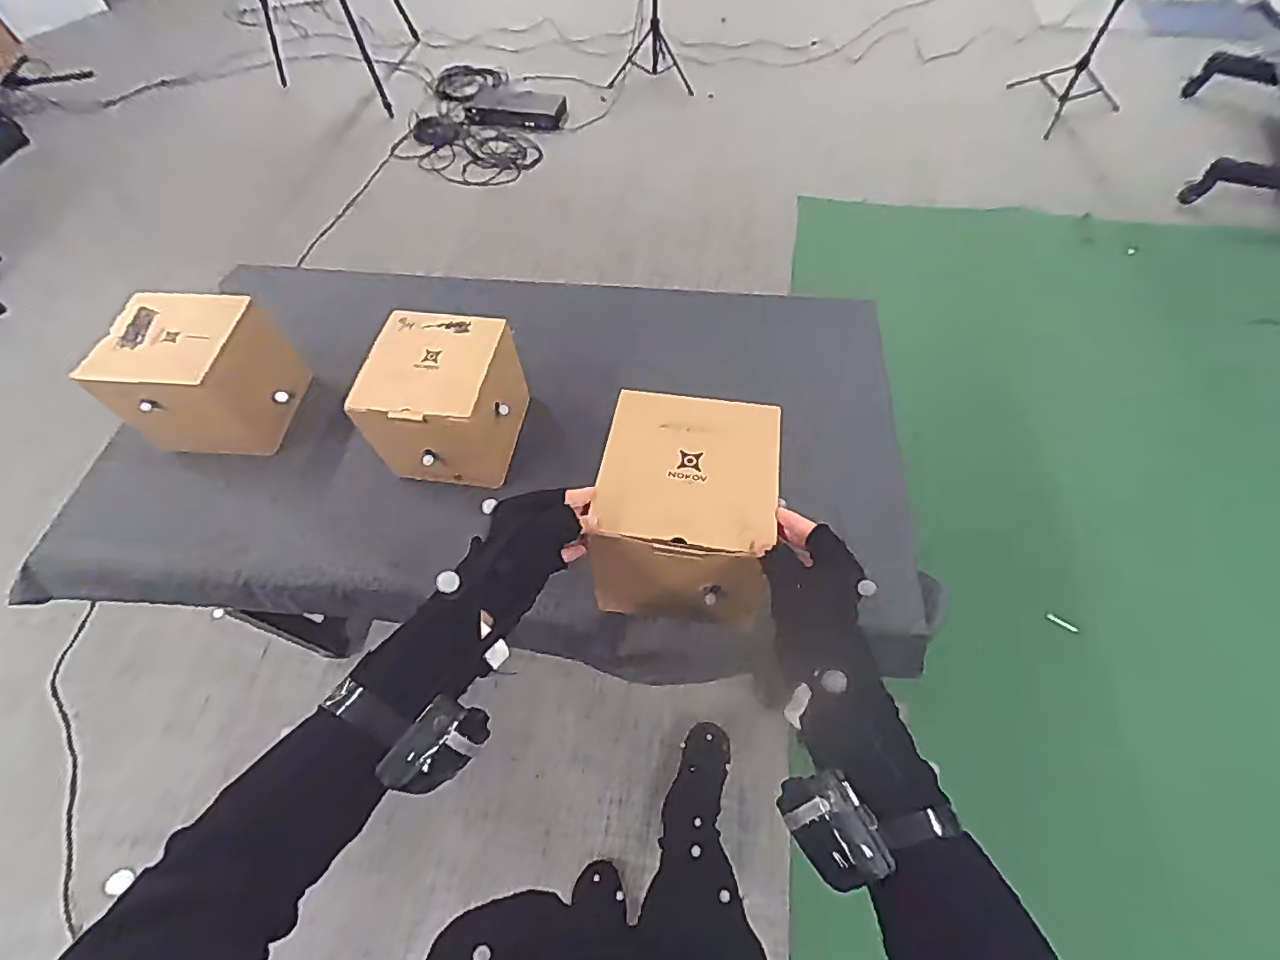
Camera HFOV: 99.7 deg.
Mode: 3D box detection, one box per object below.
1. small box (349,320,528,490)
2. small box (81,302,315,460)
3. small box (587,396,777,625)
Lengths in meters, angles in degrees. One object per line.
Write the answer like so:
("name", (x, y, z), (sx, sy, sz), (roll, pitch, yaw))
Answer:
("small box", (-0.270, -0.102, 0.776), (0.168, 0.176, 0.179), (6, 60, 5))
("small box", (-0.637, -0.142, 0.808), (0.179, 0.176, 0.168), (3, 59, 2))
("small box", (0.048, 0.037, 0.577), (0.168, 0.176, 0.179), (7, 53, 5))
